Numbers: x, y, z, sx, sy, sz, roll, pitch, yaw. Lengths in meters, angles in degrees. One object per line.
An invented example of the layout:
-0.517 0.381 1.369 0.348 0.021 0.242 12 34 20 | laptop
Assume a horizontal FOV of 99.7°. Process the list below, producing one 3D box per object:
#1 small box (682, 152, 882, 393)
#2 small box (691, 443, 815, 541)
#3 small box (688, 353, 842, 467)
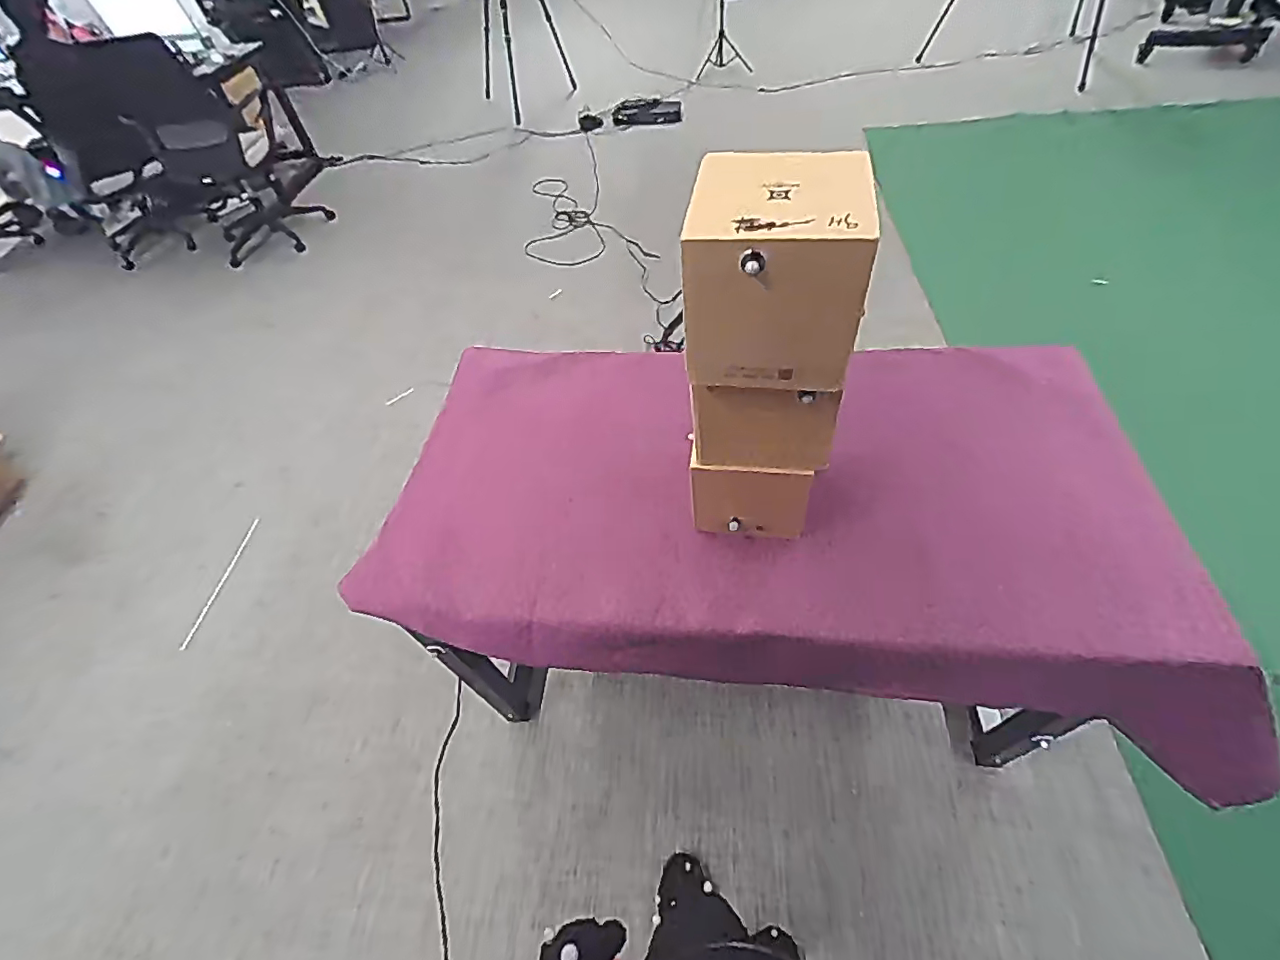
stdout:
0.139 -0.213 0.559 0.168 0.176 0.179 5 52 12 | small box
0.172 -0.030 0.827 0.168 0.176 0.179 4 53 12 | small box
0.161 -0.131 0.701 0.179 0.176 0.168 3 53 10 | small box
